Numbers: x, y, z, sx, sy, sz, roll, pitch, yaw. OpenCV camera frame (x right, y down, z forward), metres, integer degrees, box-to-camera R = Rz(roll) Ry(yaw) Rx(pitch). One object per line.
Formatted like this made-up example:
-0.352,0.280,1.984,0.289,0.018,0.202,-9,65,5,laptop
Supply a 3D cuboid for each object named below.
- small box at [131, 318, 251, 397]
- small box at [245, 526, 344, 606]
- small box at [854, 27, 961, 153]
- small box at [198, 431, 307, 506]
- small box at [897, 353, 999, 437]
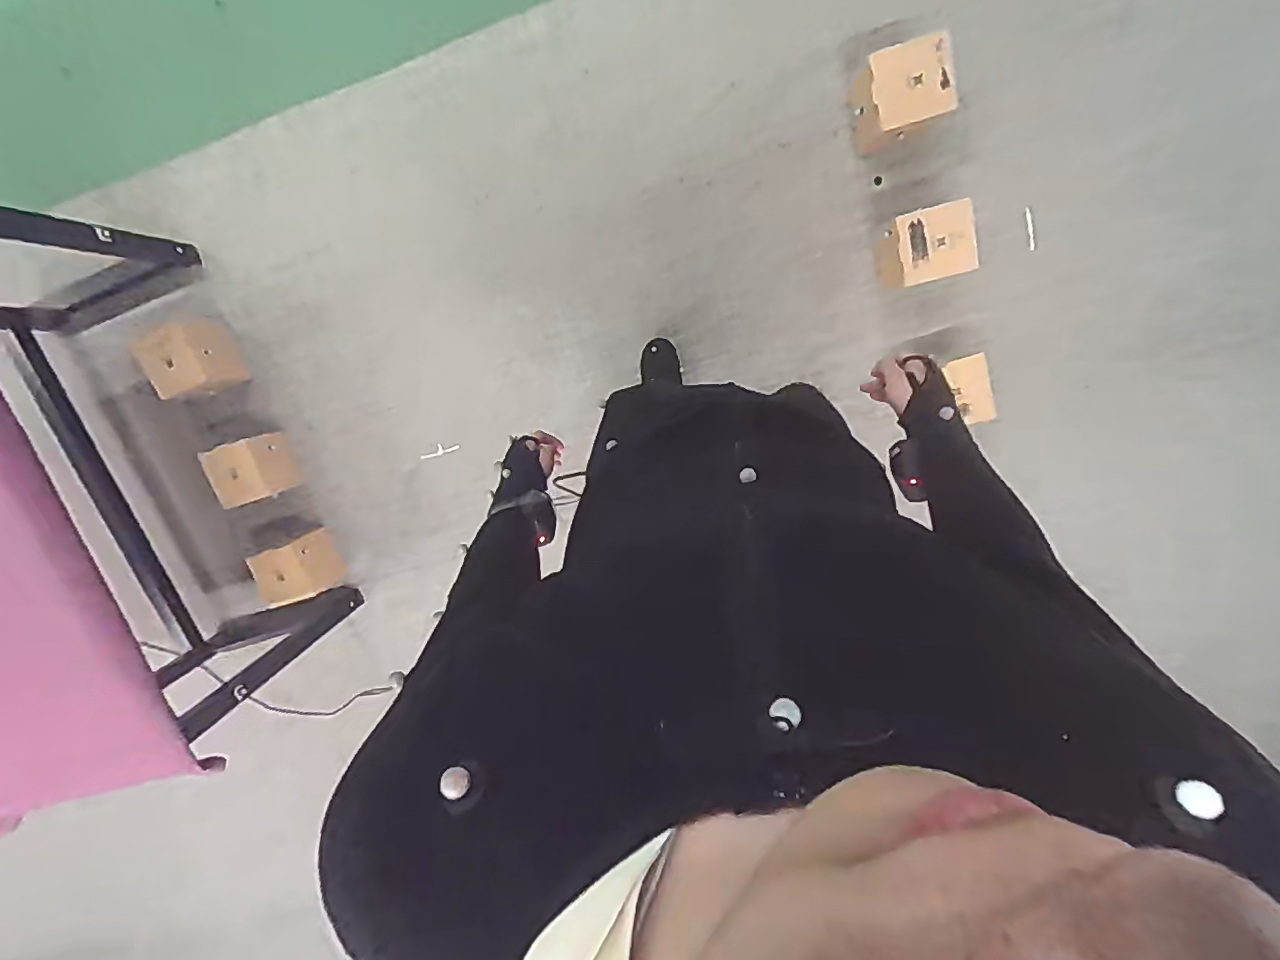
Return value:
-1.279,-0.354,1.556,0.168,0.176,0.179,-19,102,8,small box
-1.071,0.265,1.694,0.168,0.176,0.179,-17,101,8,small box
0.621,-0.906,1.276,0.179,0.176,0.168,-13,102,8,small box
-1.156,-0.041,1.625,0.168,0.176,0.179,-15,102,9,small box
0.805,-0.228,1.425,0.168,0.176,0.179,-16,101,8,small box
